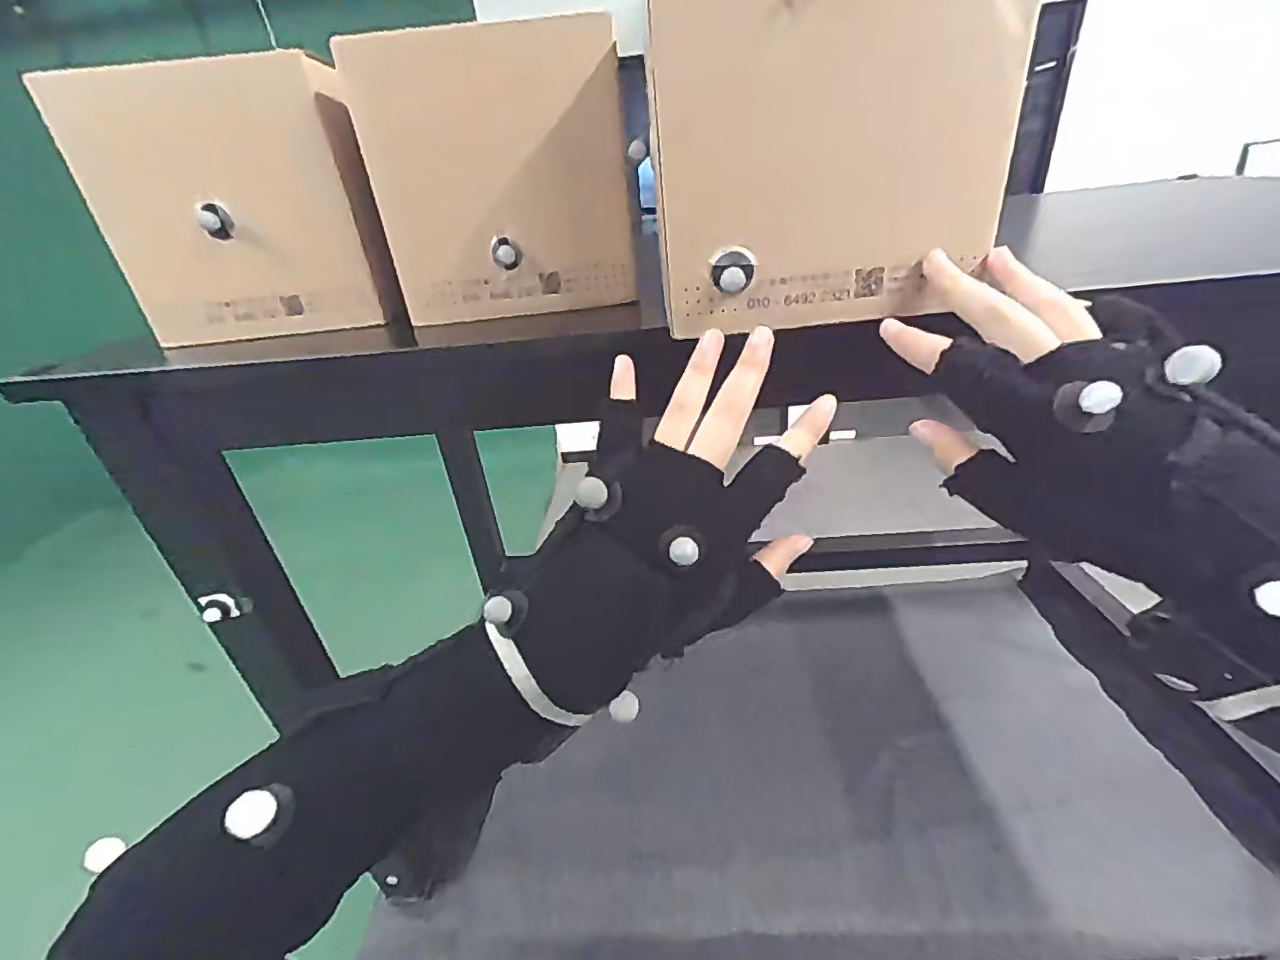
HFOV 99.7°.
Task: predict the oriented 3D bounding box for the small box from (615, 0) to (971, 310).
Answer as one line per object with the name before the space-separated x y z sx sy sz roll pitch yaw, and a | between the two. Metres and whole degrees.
small box | 0.079 -0.207 0.337 0.168 0.176 0.179 -5 28 3

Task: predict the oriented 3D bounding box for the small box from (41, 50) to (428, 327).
small box | -0.296 -0.229 0.452 0.168 0.176 0.179 -6 28 -2
